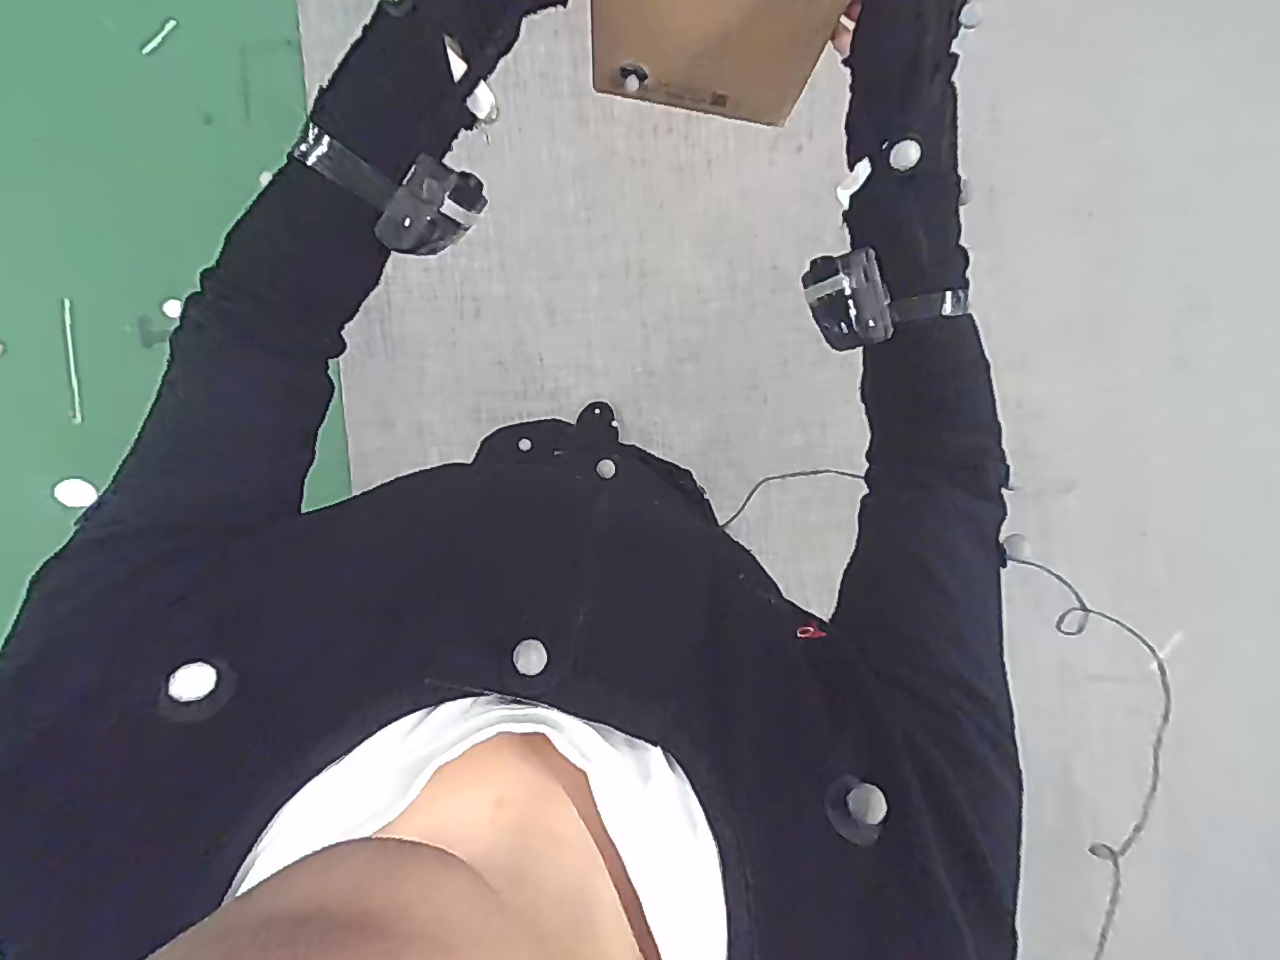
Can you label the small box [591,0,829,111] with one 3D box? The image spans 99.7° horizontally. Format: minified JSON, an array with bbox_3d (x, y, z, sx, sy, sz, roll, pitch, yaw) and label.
[{"bbox_3d":[0.057,-0.403,0.375,0.168,0.176,0.179,9,90,-4],"label":"small box"}]
